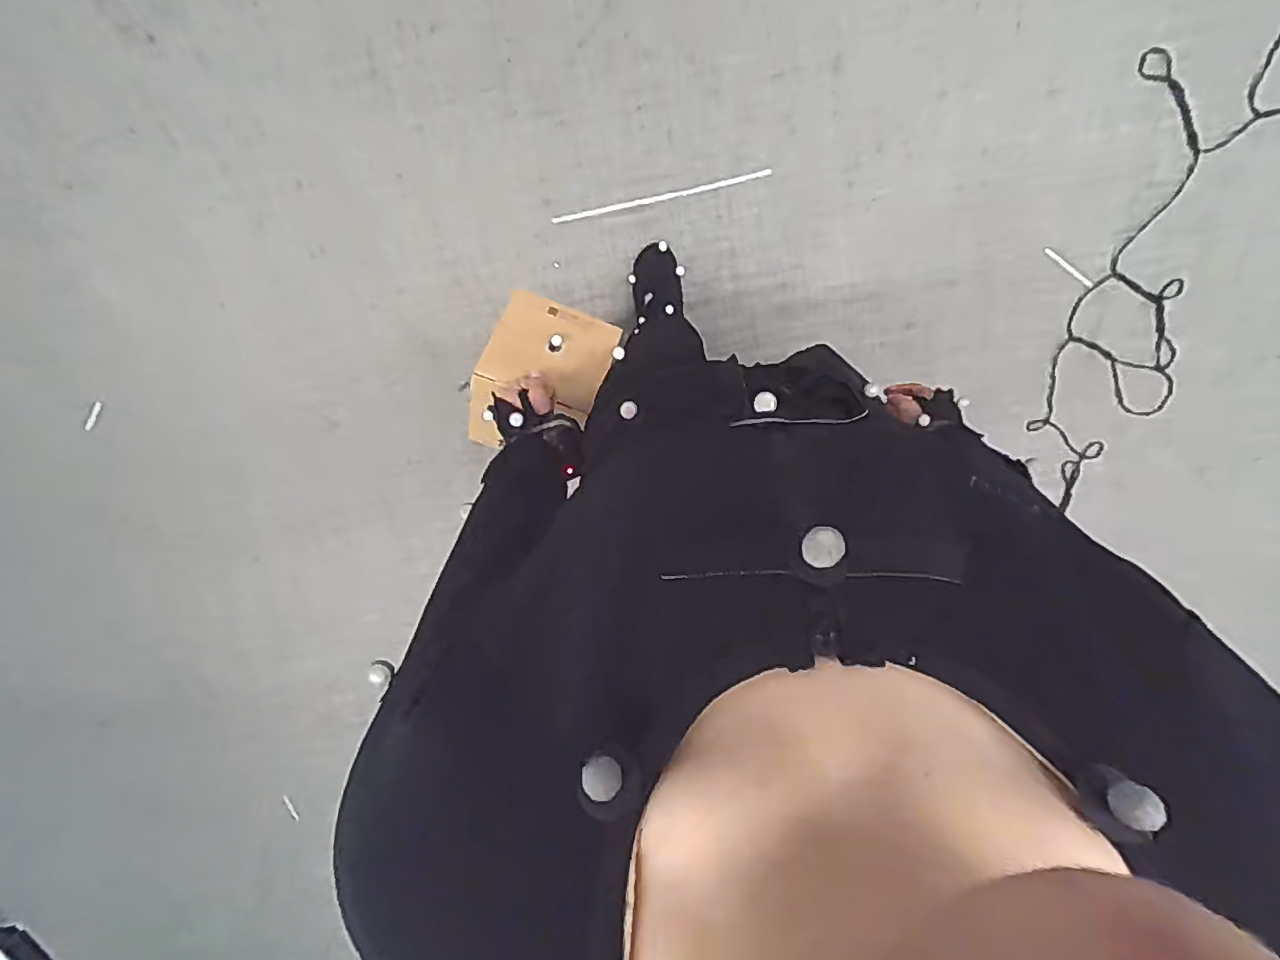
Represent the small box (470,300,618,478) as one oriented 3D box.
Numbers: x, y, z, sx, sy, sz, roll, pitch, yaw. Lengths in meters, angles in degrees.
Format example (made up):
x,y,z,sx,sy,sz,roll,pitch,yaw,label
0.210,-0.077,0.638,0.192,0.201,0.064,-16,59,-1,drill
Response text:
x,y,z,sx,sy,sz,roll,pitch,yaw,label
-0.143,-0.136,0.815,0.168,0.176,0.179,21,148,-8,small box
